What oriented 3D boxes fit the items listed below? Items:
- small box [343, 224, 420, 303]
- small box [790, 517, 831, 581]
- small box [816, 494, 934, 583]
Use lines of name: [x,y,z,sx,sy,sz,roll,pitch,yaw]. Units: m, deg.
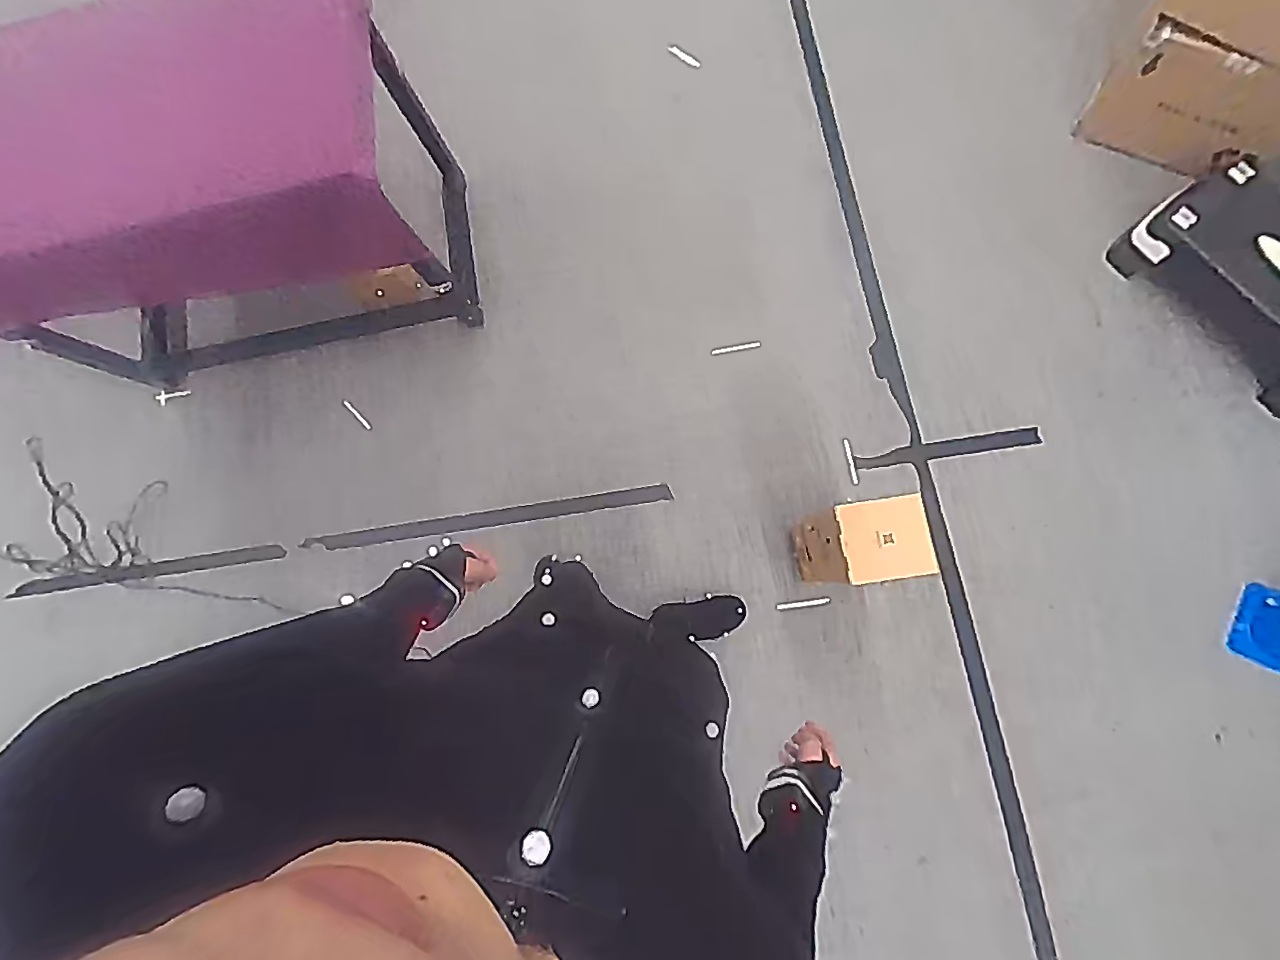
small box: [-0.845,-0.710,1.787,0.179,0.176,0.168,-9,80,5]
small box: [0.532,0.179,1.503,0.179,0.176,0.168,-13,81,5]
small box: [0.503,0.127,1.181,0.179,0.176,0.168,-9,82,5]
